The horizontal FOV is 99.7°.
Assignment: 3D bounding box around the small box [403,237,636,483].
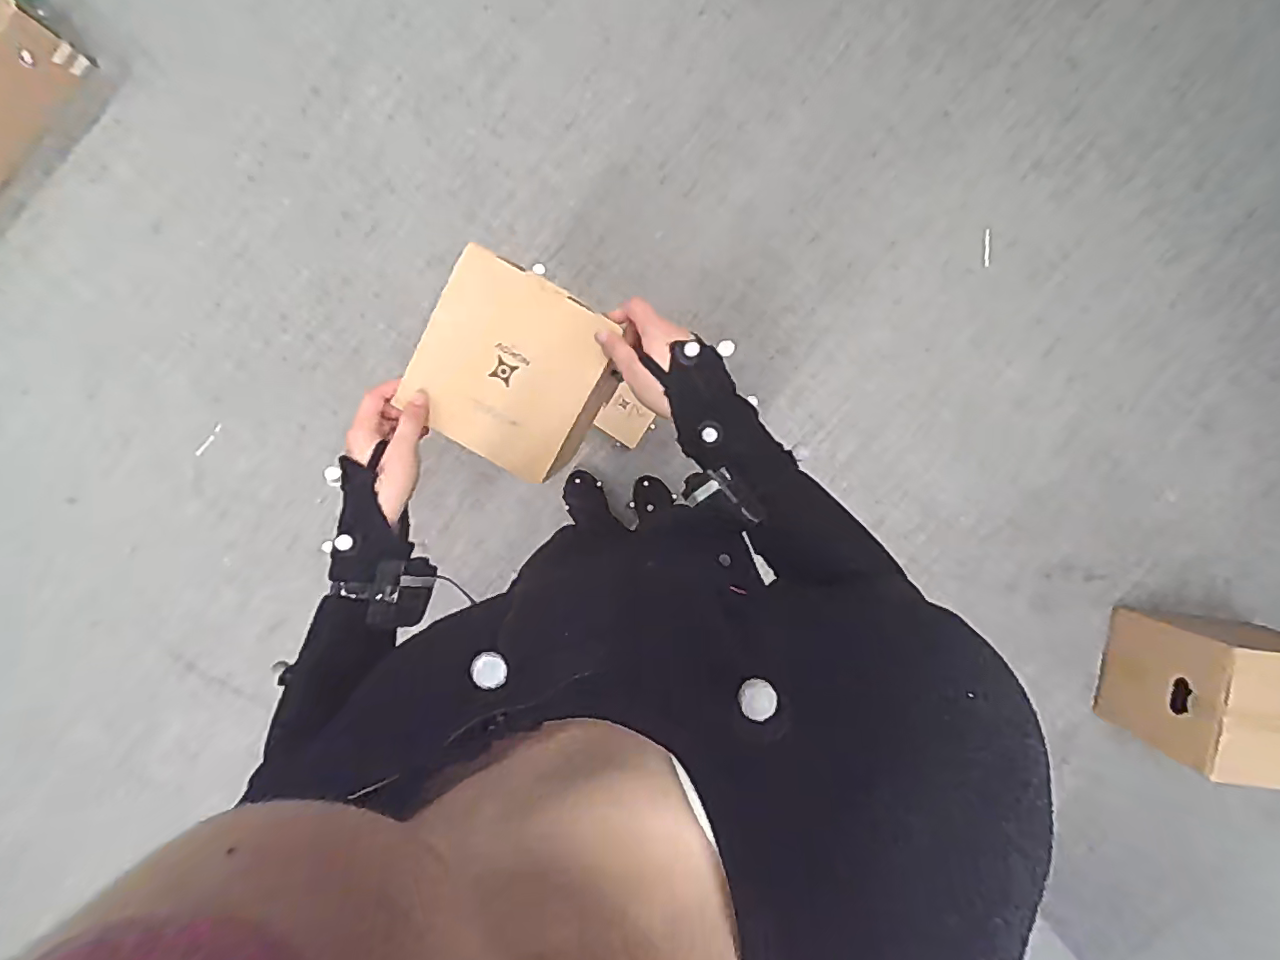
[{"bbox_3d":[-0.114,-0.123,0.585,0.168,0.176,0.179,29,101,-2],"label":"small box"}]
